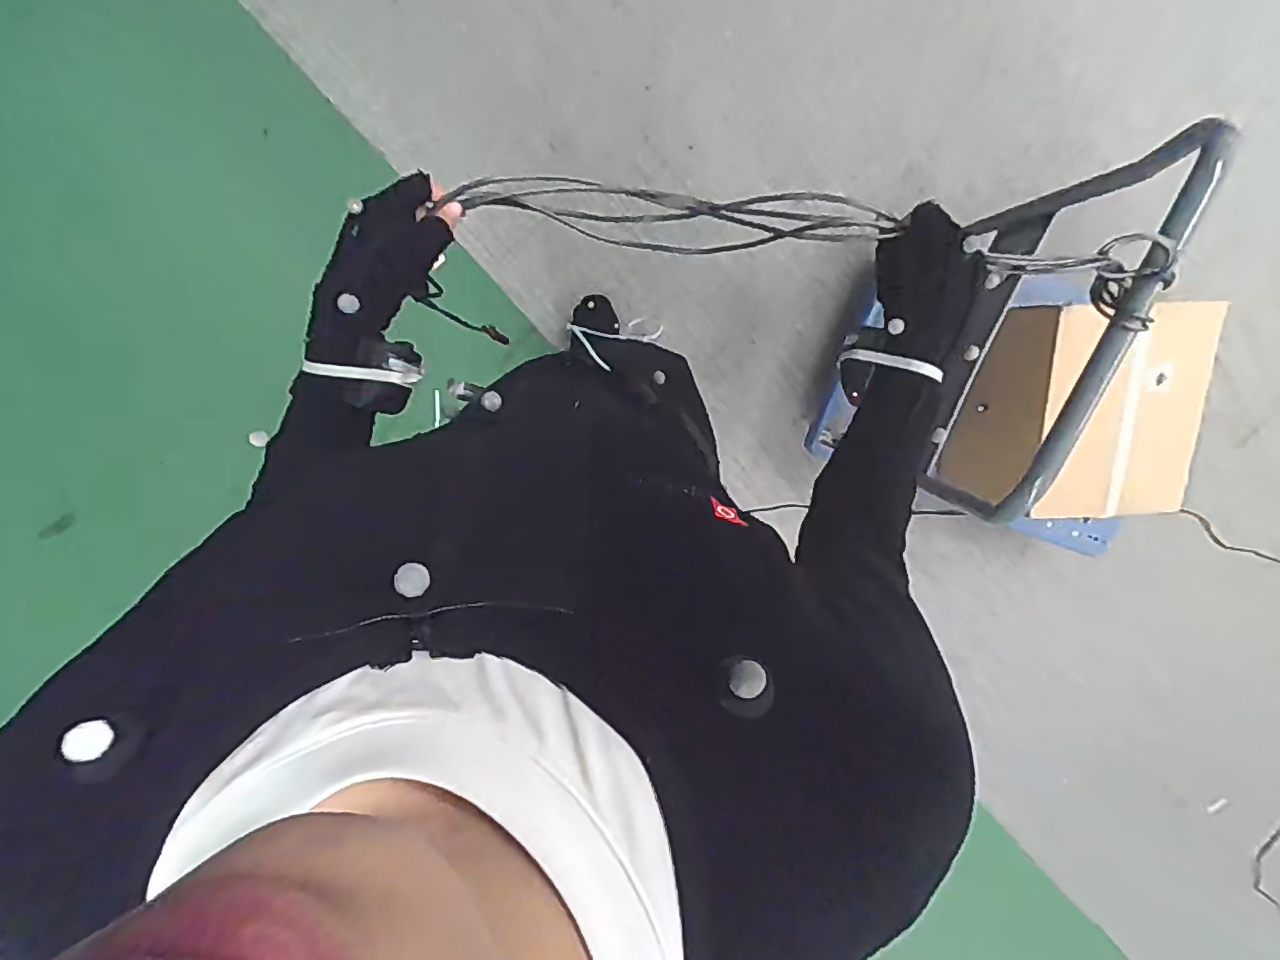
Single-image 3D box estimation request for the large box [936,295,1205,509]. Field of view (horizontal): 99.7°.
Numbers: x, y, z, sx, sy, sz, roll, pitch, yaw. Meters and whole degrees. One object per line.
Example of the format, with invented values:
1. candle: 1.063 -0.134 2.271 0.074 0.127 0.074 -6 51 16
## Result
1. large box: 0.893 -0.175 1.181 0.320 0.320 0.408 -2 104 -4
